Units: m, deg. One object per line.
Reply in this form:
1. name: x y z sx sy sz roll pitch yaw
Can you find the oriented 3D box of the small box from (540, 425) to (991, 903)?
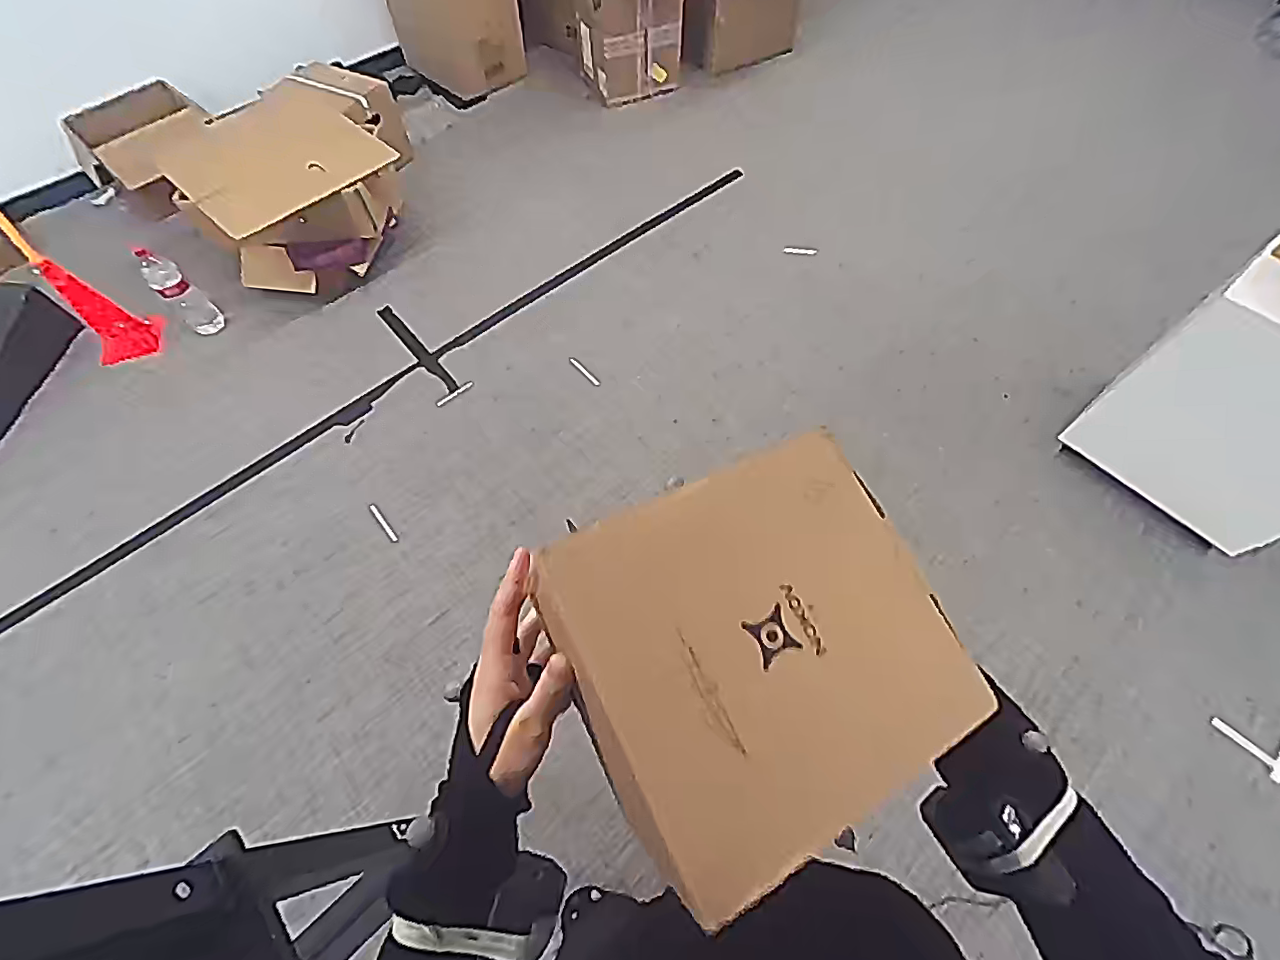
1. small box: 0.050 0.094 0.331 0.179 0.176 0.168 -22 75 -19
